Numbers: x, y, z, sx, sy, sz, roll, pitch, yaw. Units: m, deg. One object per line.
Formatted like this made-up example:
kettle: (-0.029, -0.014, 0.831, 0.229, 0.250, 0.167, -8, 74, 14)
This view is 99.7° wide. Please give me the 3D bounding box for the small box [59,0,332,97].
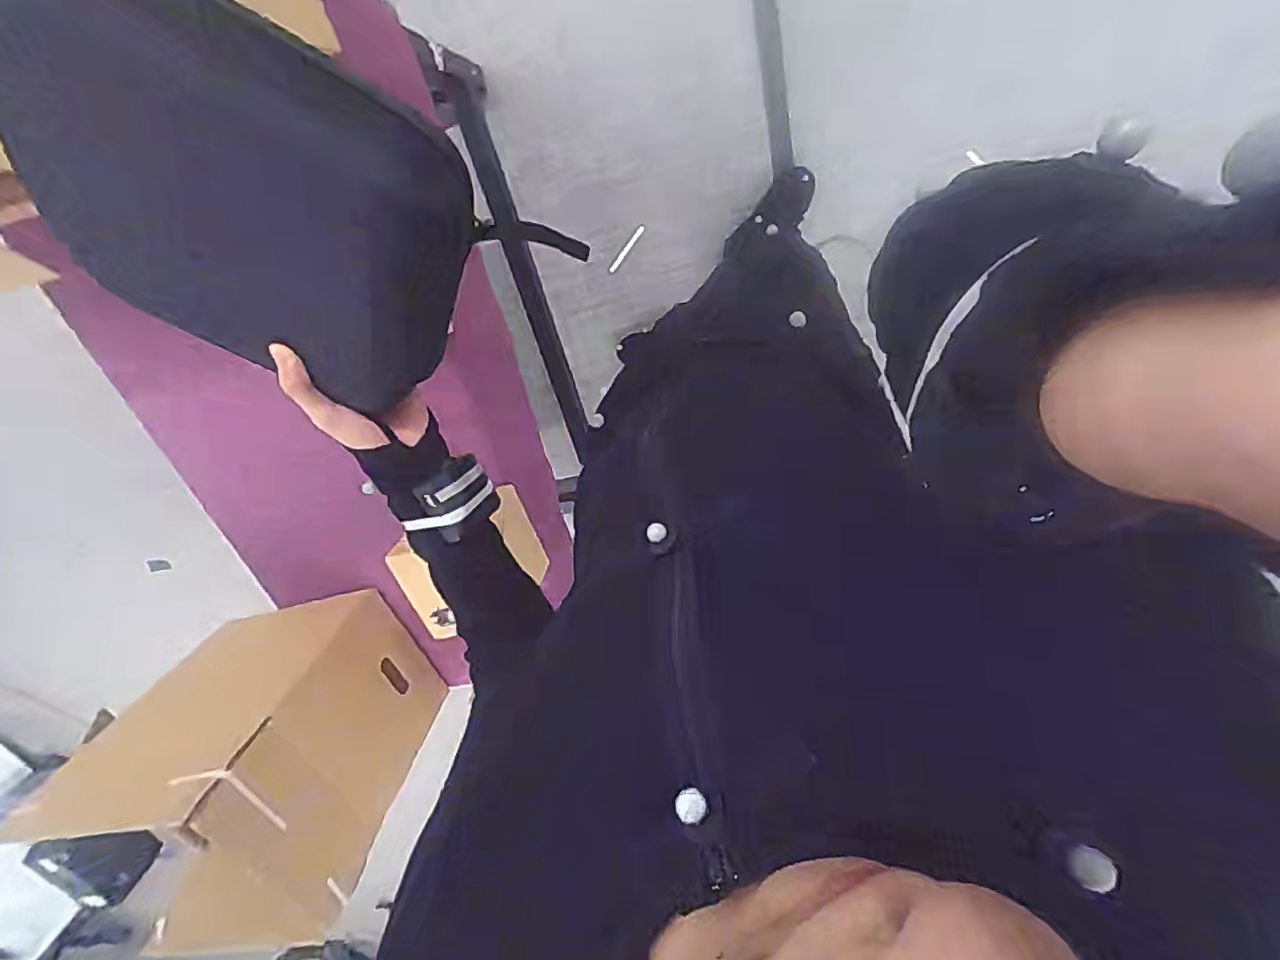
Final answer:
small box: (-0.480, -0.532, 0.573, 0.179, 0.176, 0.168, -11, 118, 13)
